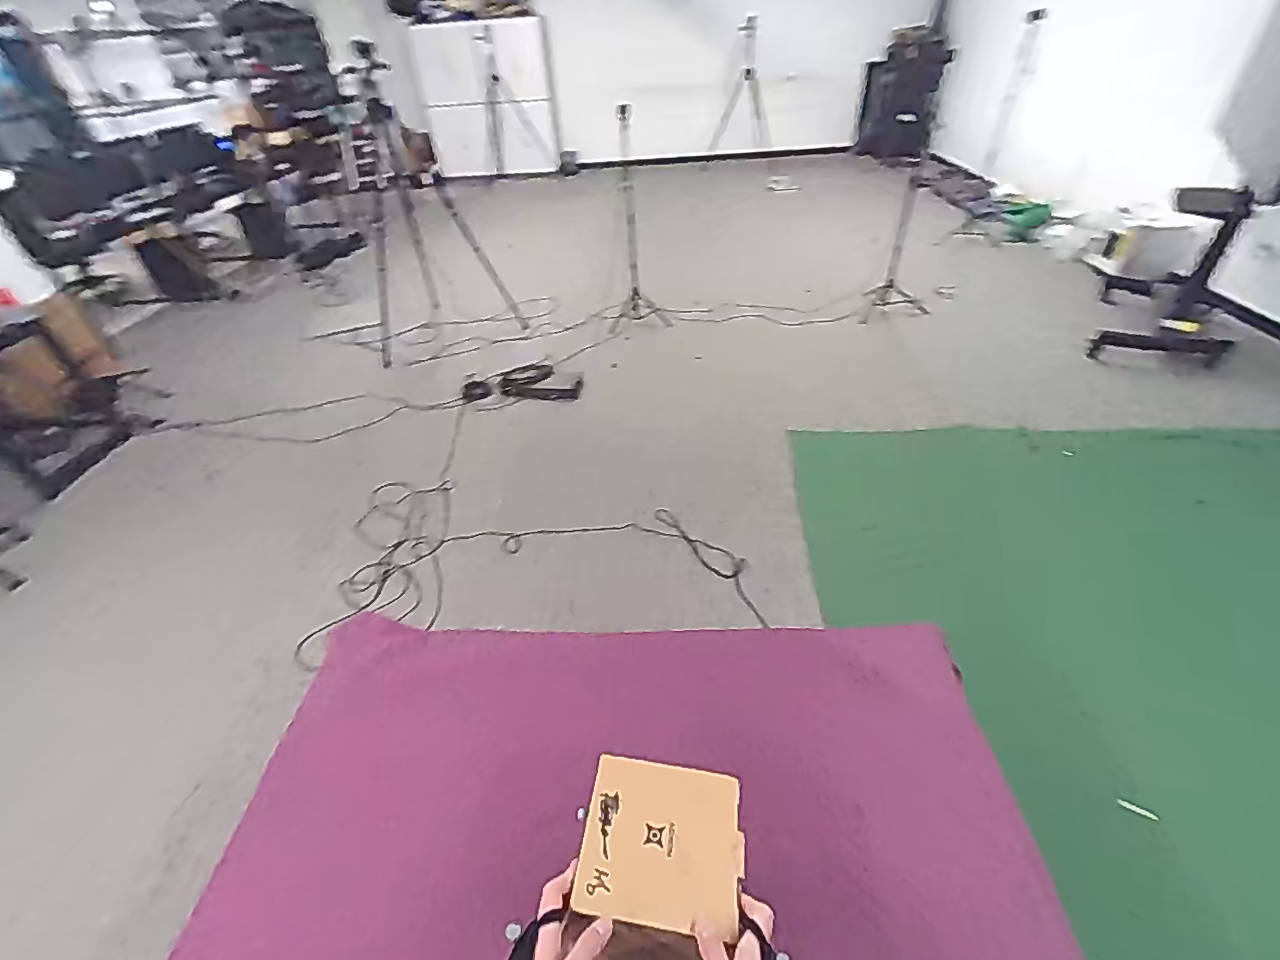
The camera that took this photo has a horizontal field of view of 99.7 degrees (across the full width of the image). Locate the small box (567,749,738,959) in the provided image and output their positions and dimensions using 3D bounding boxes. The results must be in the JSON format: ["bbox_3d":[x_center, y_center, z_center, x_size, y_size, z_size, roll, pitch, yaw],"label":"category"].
[{"bbox_3d":[0.017,0.463,0.654,0.179,0.176,0.168,8,35,5],"label":"small box"}]
